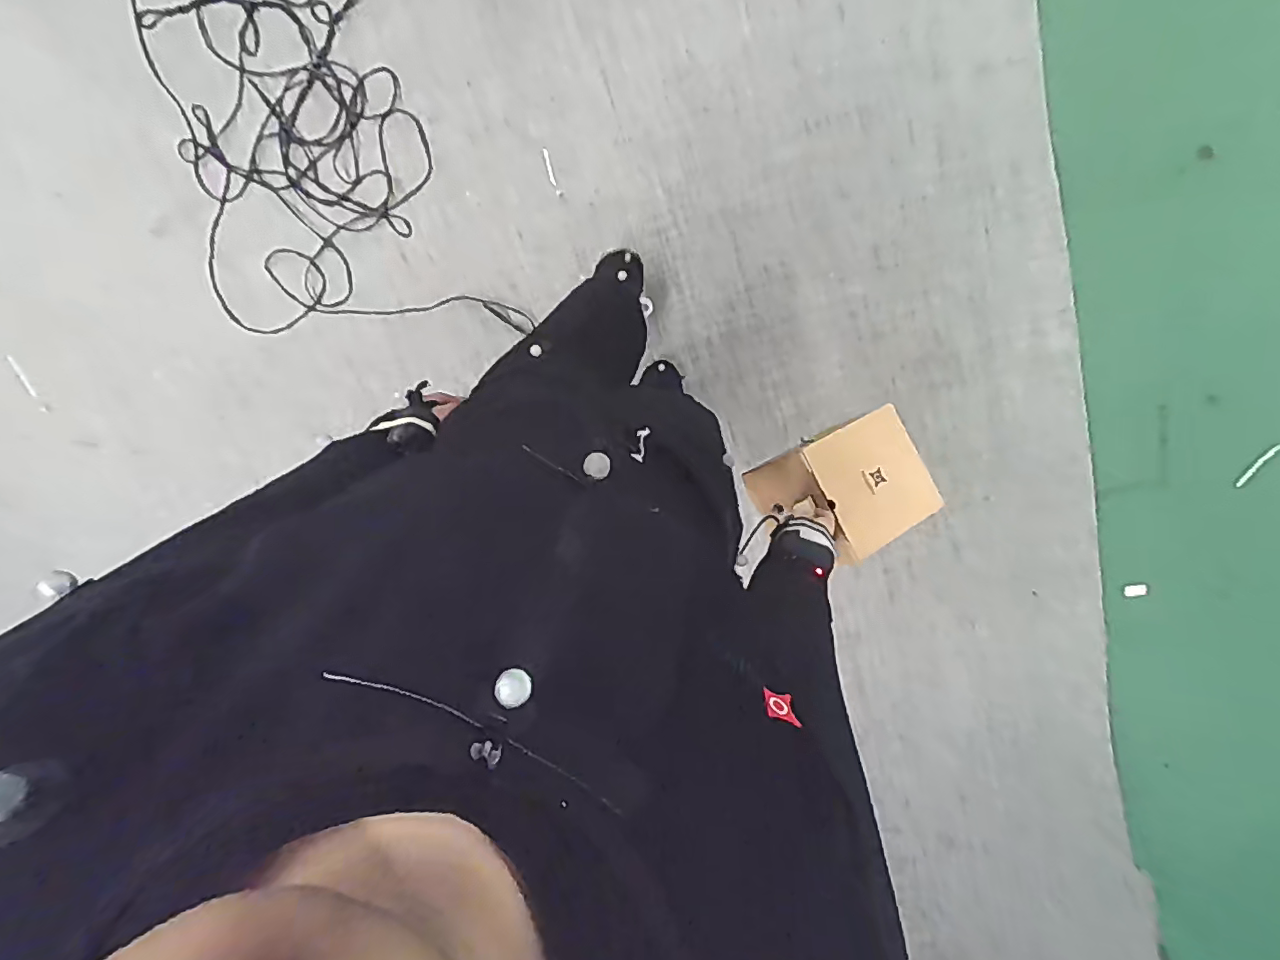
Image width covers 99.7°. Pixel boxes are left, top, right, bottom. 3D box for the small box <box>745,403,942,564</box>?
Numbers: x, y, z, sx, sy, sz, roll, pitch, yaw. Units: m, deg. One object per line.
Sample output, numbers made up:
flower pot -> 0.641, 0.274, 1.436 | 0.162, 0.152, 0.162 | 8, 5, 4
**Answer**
small box -> 0.290, 0.012, 0.798 | 0.179, 0.176, 0.168 | -27, 88, -20
